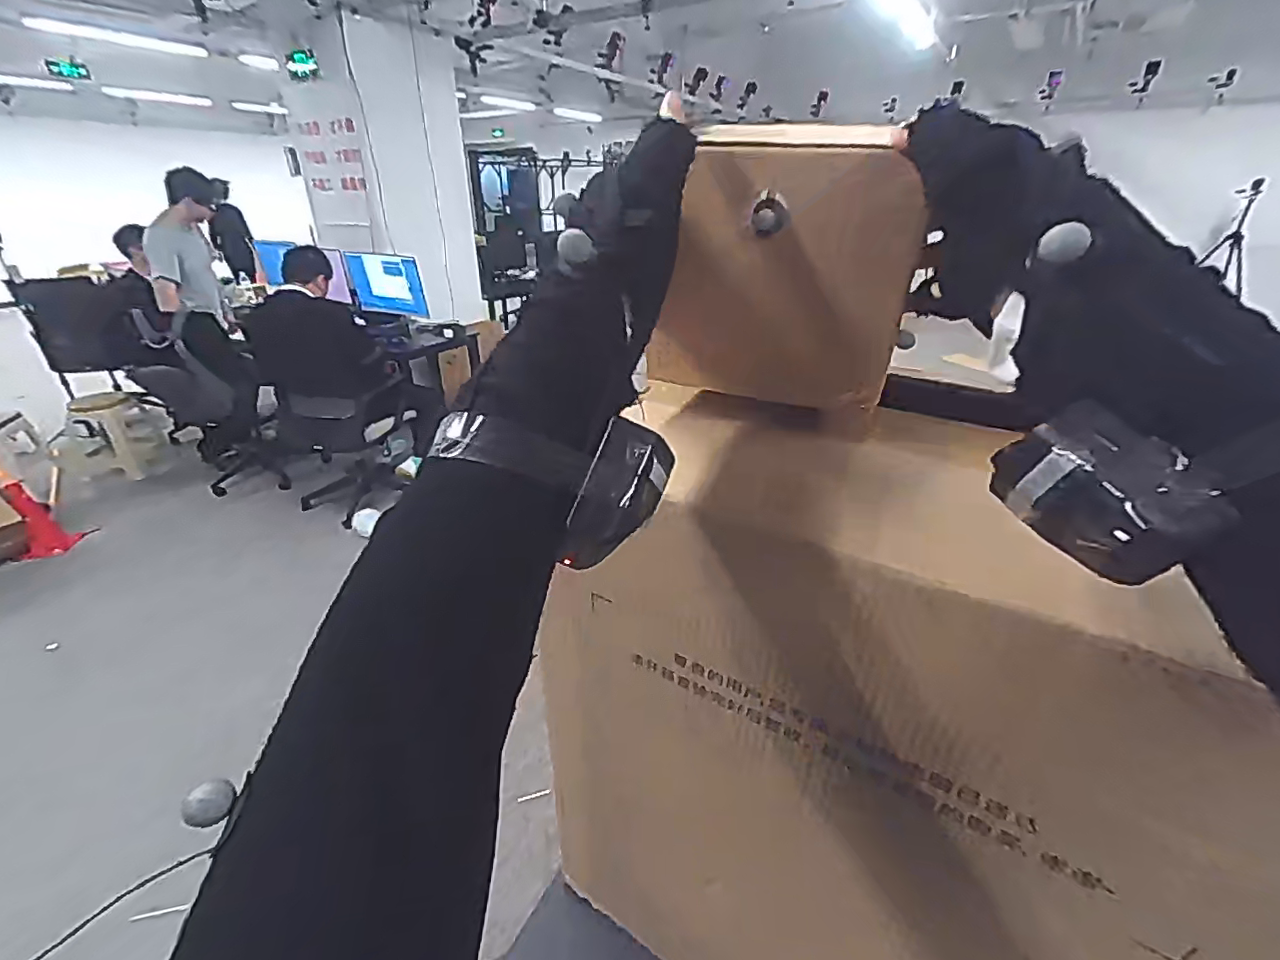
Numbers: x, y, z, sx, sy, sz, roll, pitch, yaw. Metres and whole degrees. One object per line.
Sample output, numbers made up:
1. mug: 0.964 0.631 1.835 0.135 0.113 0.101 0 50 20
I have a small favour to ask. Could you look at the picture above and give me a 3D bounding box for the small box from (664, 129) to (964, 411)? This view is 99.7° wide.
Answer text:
1. small box: 0.124 -0.170 0.423 0.179 0.176 0.168 13 38 17
